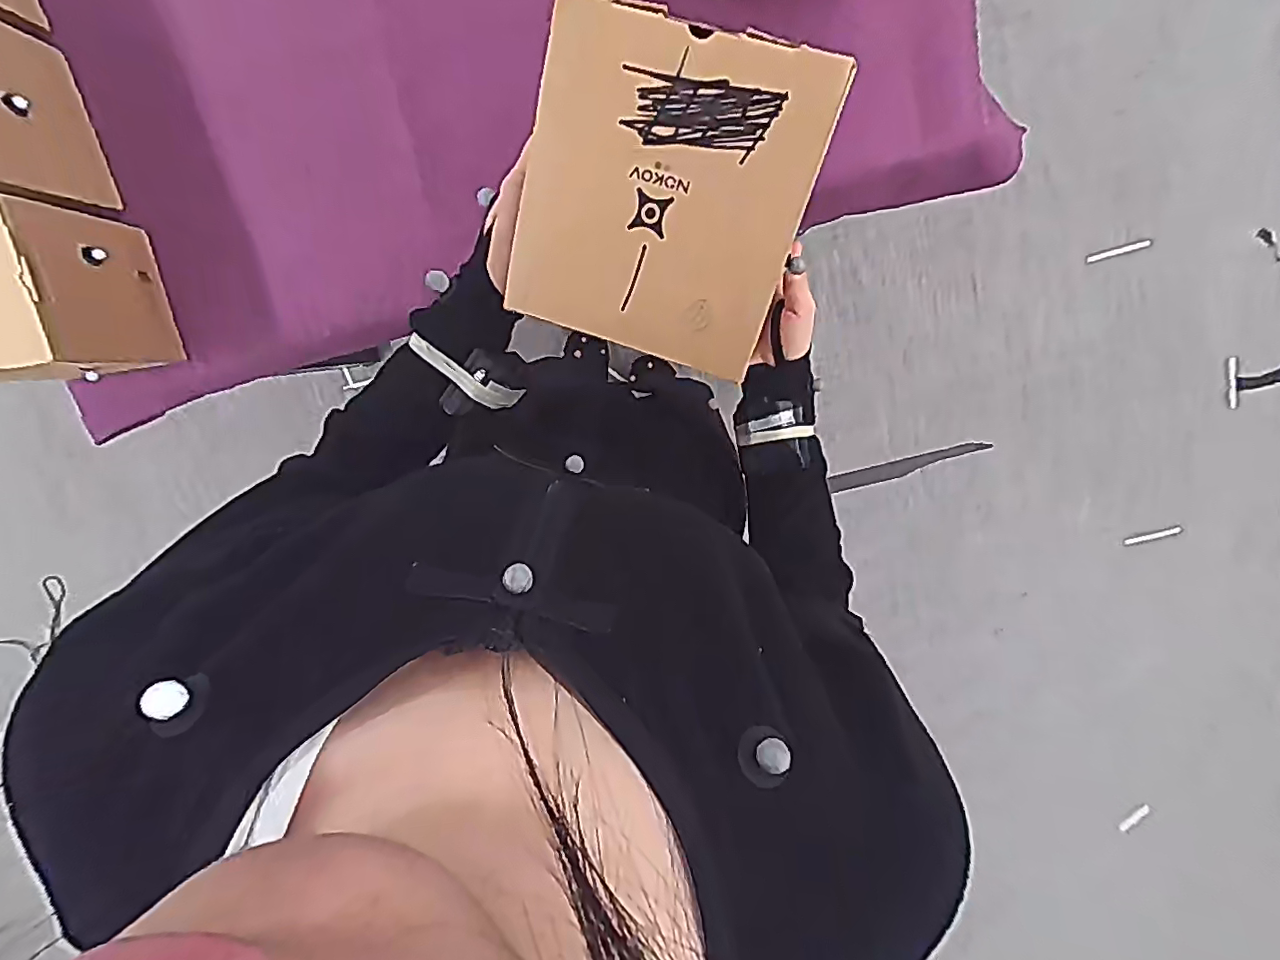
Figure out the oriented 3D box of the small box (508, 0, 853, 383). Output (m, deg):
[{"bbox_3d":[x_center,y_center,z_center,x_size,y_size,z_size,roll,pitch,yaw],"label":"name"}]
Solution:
[{"bbox_3d":[0.029,-0.190,0.394,0.168,0.176,0.179,20,112,6],"label":"small box"}]
